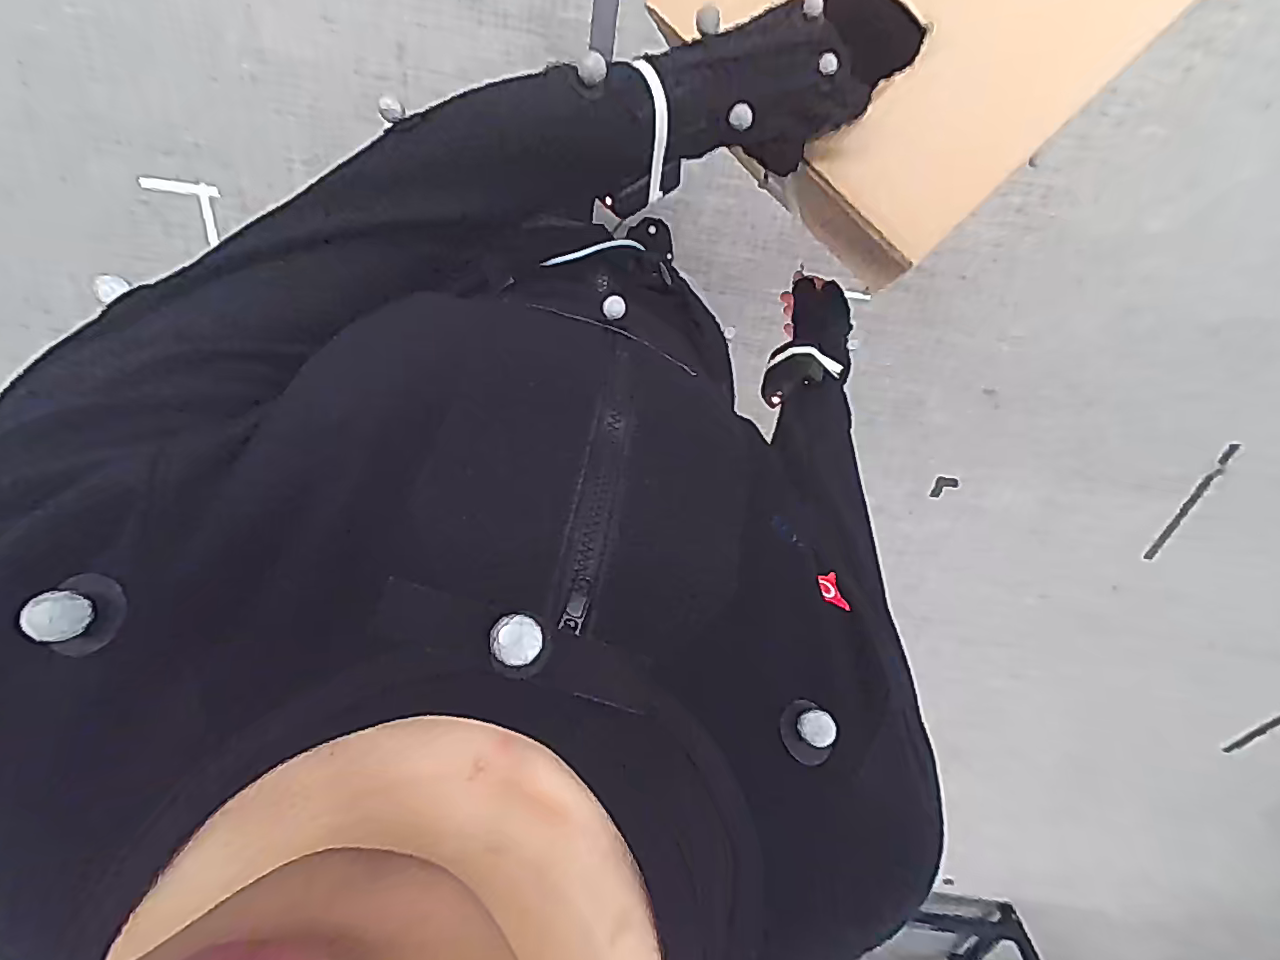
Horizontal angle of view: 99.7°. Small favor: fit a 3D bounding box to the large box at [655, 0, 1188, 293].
[{"bbox_3d":[0.278,-0.428,0.559,0.320,0.408,0.320,47,116,2],"label":"large box"}]
